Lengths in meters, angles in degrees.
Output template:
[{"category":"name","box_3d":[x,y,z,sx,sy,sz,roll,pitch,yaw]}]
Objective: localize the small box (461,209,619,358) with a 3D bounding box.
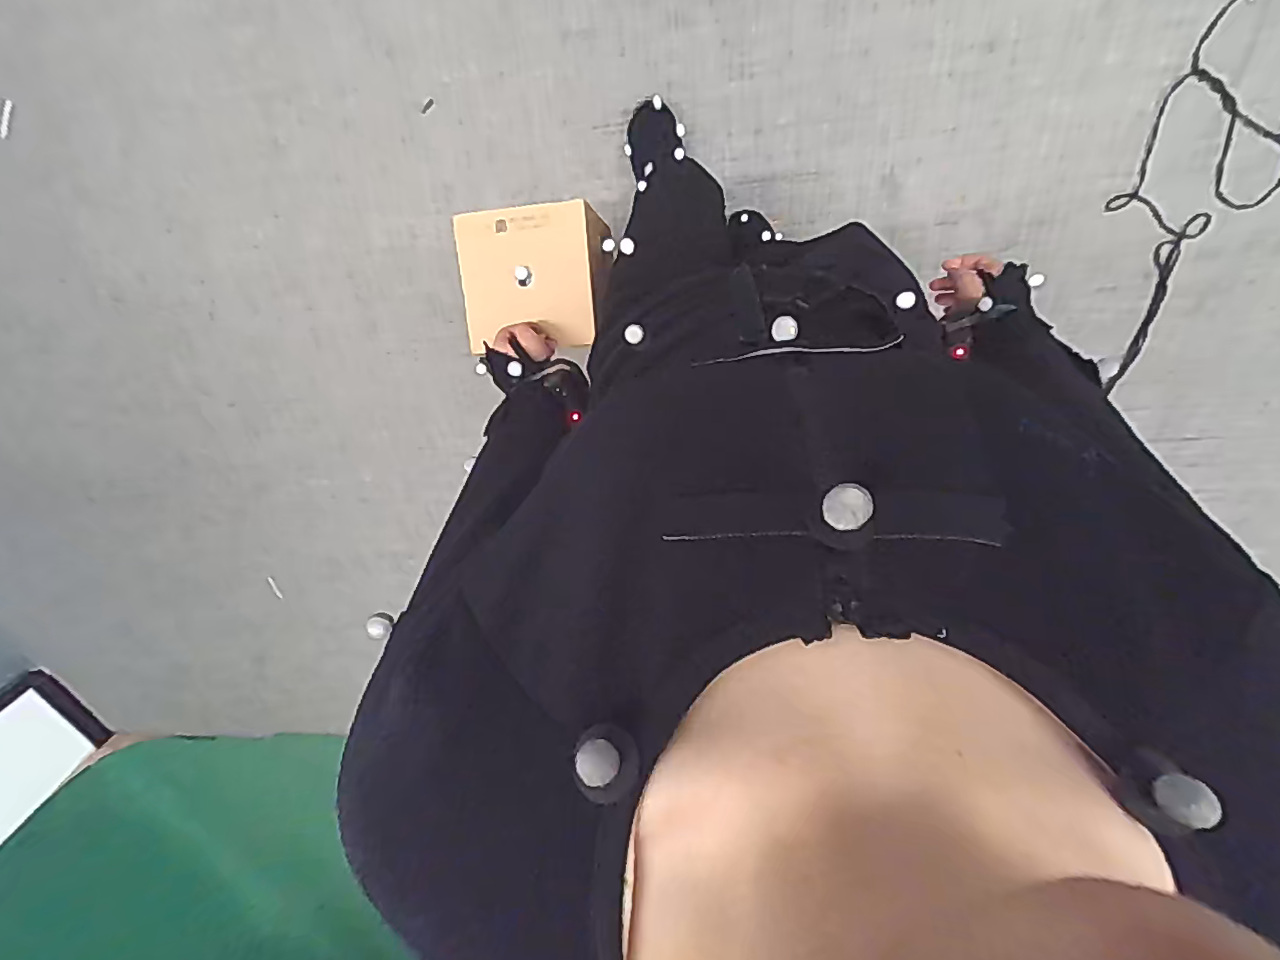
[{"category":"small box","box_3d":[-0.128,-0.262,0.741,0.168,0.179,0.176,-2,103,8]}]
